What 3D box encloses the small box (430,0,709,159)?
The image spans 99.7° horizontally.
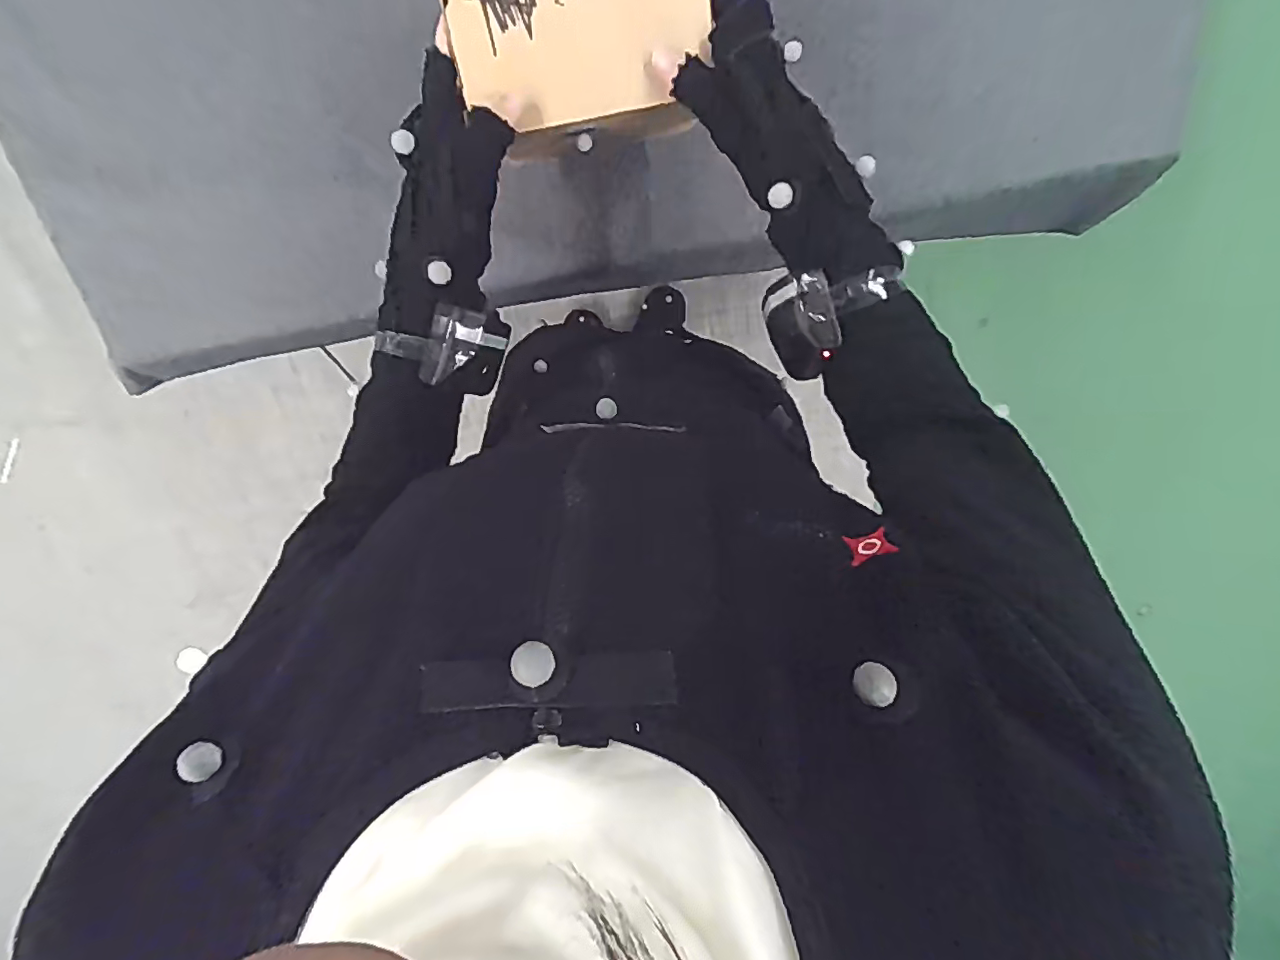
[{"bbox_3d":[-0.050,-0.356,0.410,0.179,0.176,0.168,-9,116,3],"label":"small box"}]

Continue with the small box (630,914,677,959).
[{"bbox_3d":[0.054,1.832,2.097,0.179,0.176,0.168,-6,111,1],"label":"small box"}]
